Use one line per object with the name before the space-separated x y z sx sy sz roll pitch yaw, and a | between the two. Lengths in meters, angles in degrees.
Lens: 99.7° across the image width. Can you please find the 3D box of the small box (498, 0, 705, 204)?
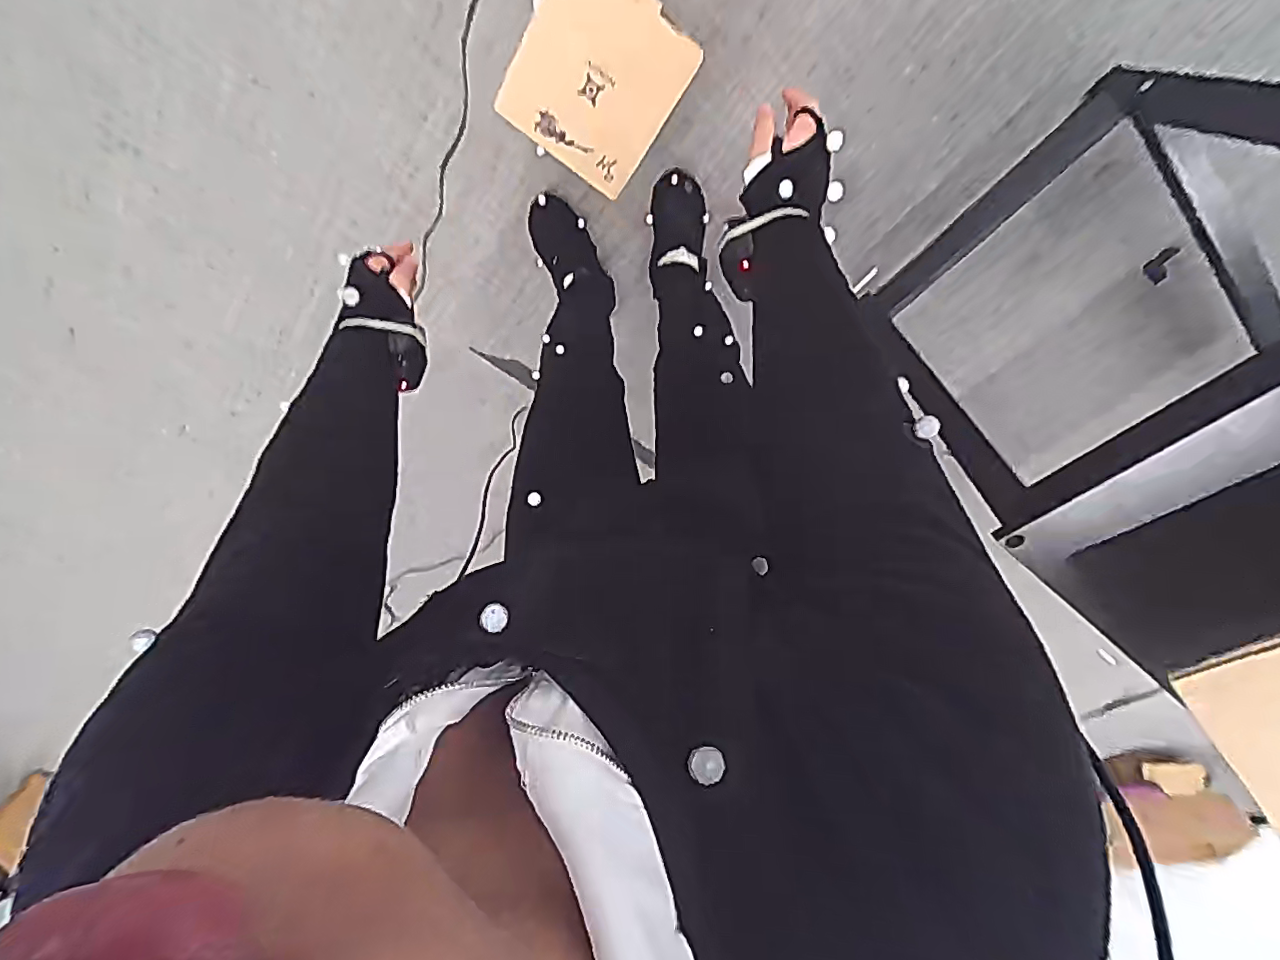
small box | -0.046 -0.477 0.649 0.168 0.176 0.179 30 123 -21
